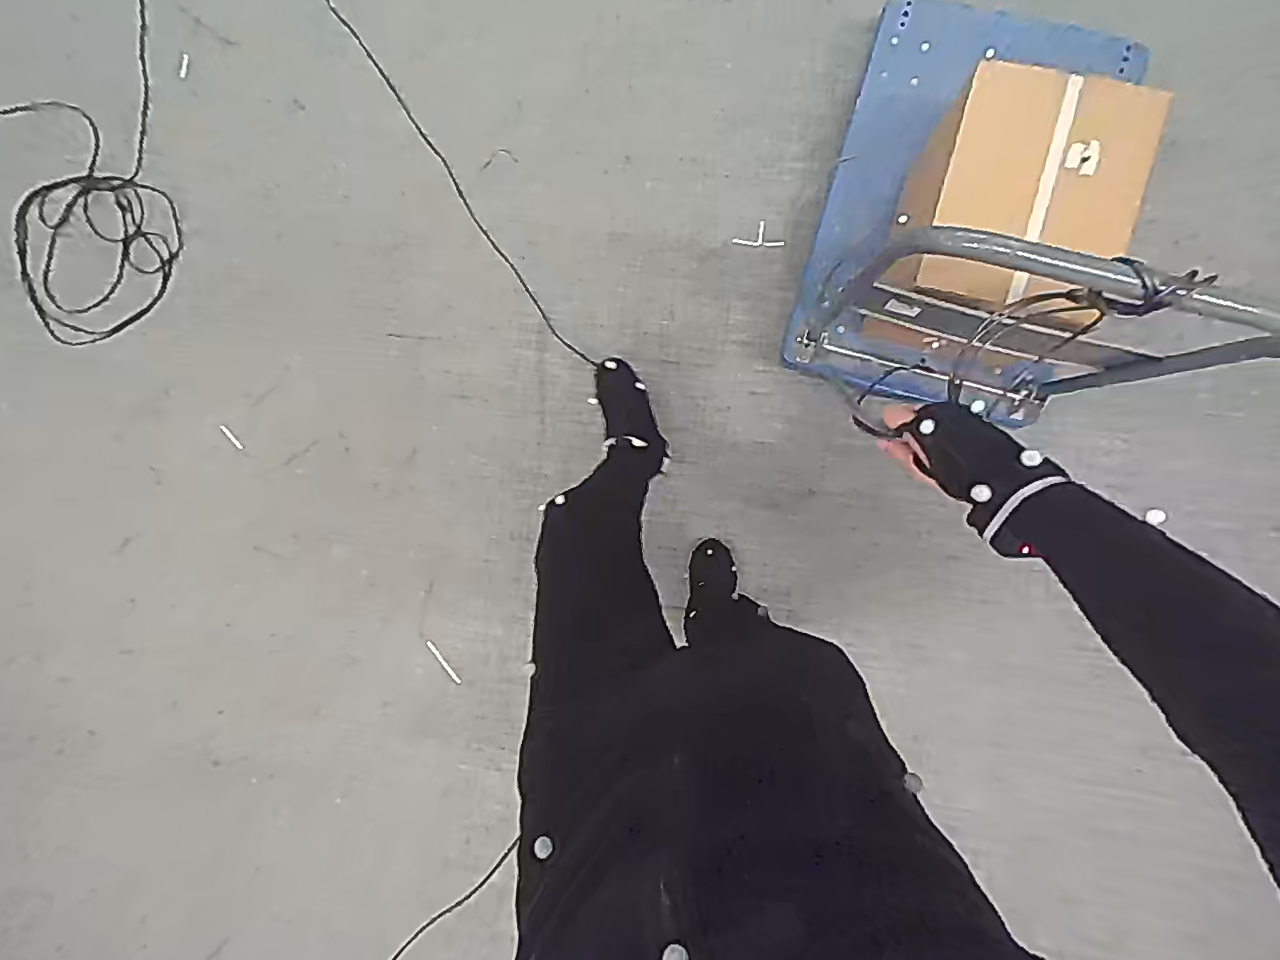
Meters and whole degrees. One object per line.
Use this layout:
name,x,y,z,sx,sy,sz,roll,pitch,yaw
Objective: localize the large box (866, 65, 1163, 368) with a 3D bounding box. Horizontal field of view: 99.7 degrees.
large box,0.679,-0.471,1.049,0.320,0.320,0.408,16,90,5
